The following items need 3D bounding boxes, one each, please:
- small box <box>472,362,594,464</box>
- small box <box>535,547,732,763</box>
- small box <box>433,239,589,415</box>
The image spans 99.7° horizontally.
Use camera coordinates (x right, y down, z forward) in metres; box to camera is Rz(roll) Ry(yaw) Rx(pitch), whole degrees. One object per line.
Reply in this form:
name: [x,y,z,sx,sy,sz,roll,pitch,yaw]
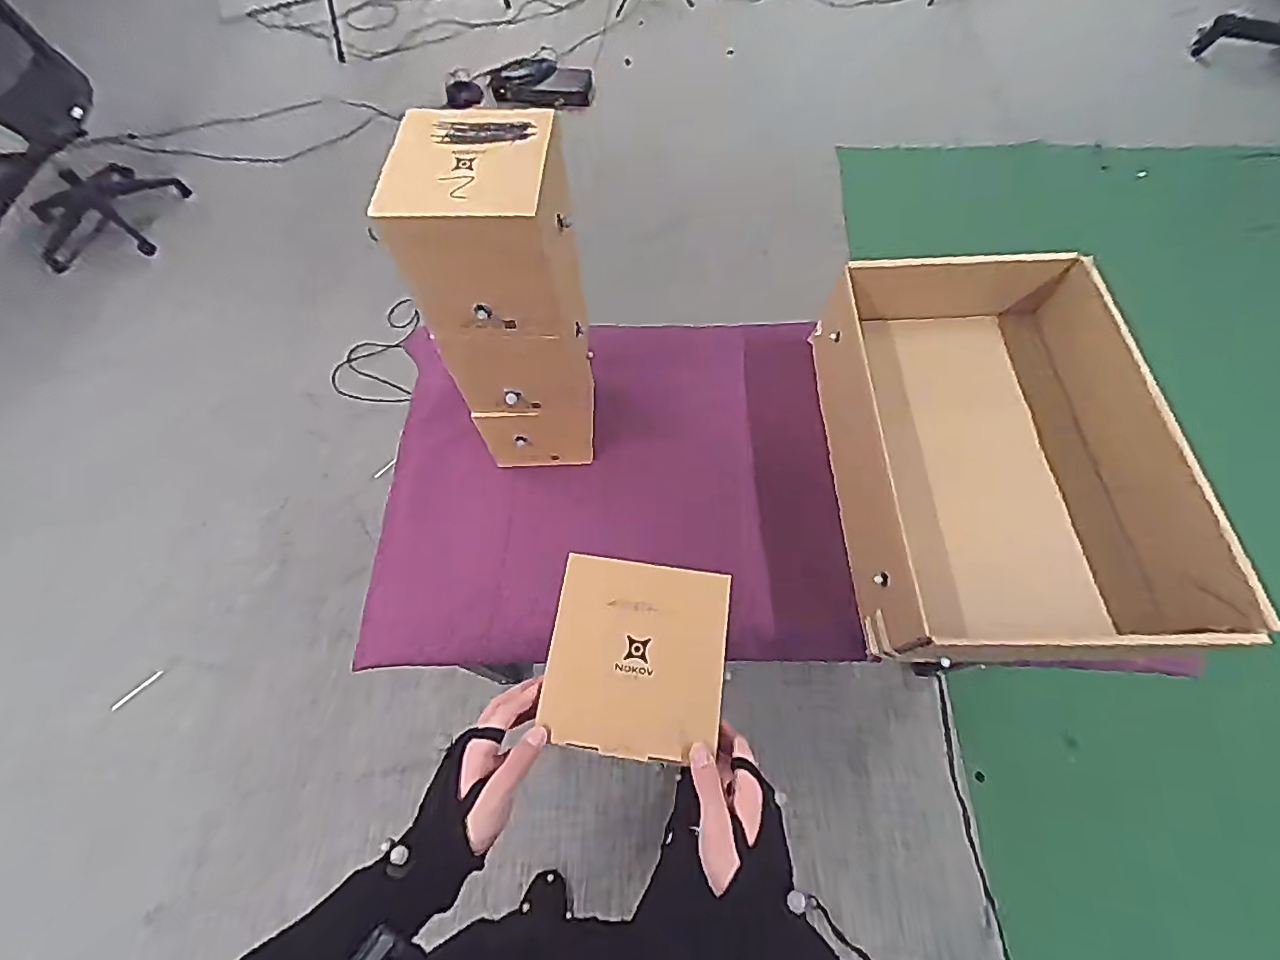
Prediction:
small box: [-0.169,-0.136,0.914,0.168,0.176,0.179,-2,62,1]
small box: [-0.002,0.189,0.581,0.168,0.176,0.179,8,66,3]
small box: [-0.167,-0.213,0.769,0.168,0.176,0.179,2,63,3]
